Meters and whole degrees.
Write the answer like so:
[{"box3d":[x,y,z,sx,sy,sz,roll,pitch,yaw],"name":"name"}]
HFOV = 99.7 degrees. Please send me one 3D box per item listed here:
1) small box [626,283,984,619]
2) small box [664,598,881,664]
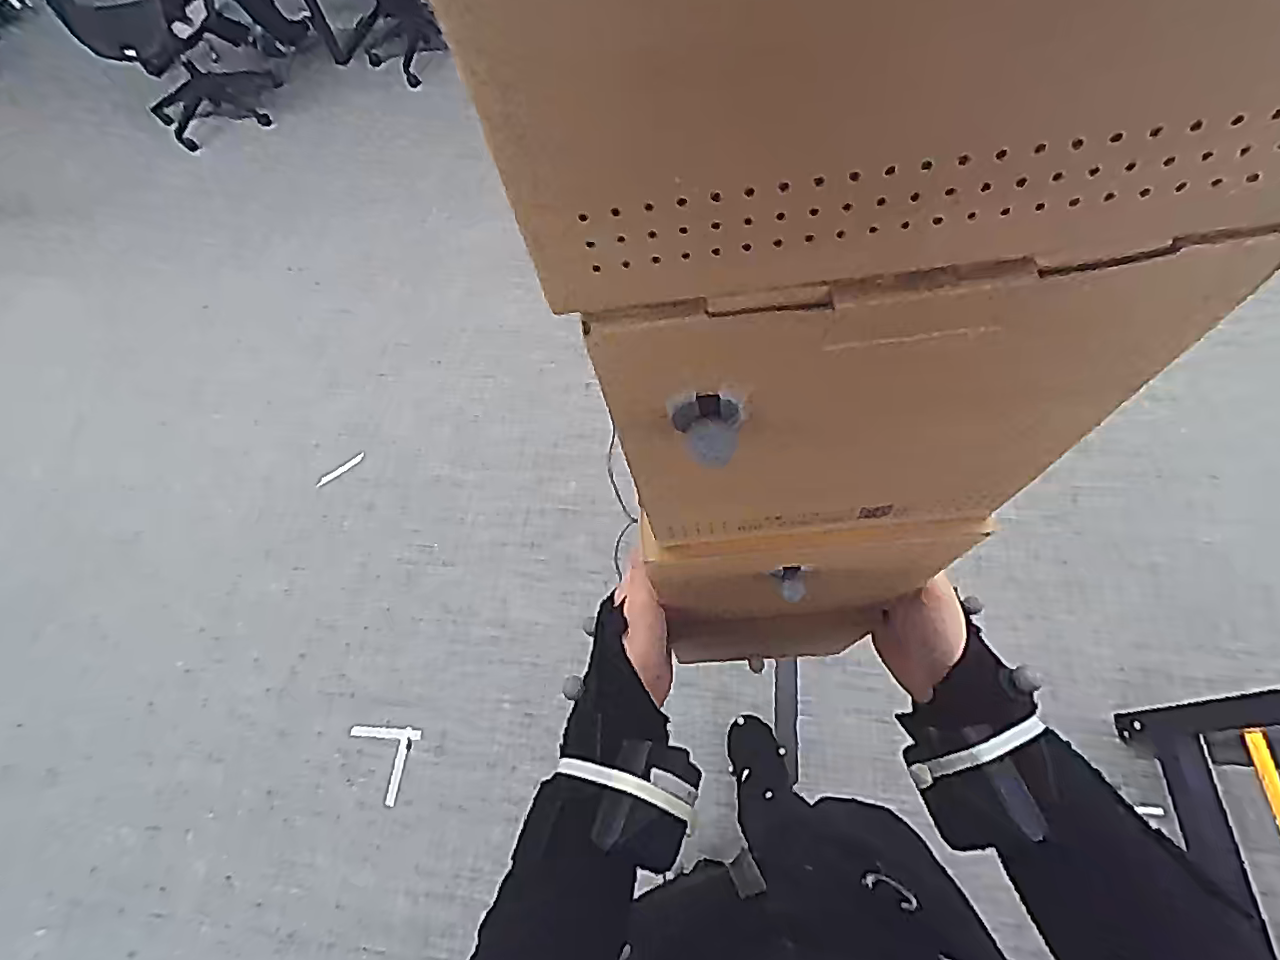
[{"box3d":[0.091,-0.005,0.377,0.179,0.176,0.168,-7,64,6],"name":"small box"},{"box3d":[0.107,0.072,0.519,0.168,0.176,0.179,-6,65,6],"name":"small box"}]
